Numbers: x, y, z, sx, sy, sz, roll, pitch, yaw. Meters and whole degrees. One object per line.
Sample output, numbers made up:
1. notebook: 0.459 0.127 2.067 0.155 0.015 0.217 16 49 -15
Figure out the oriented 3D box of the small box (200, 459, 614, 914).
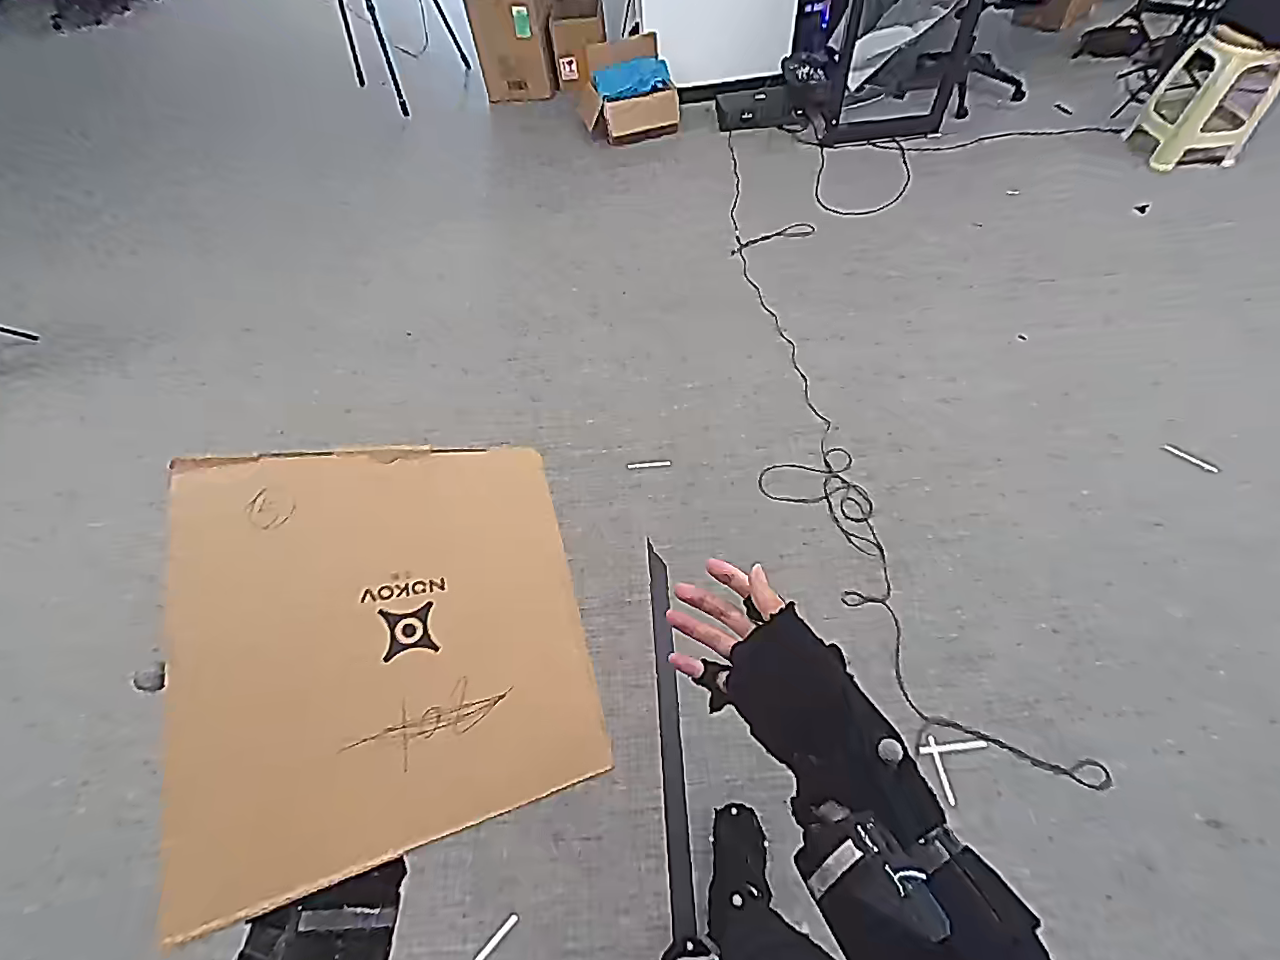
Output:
1. small box: -0.141 0.102 0.314 0.168 0.176 0.179 -3 67 -34
